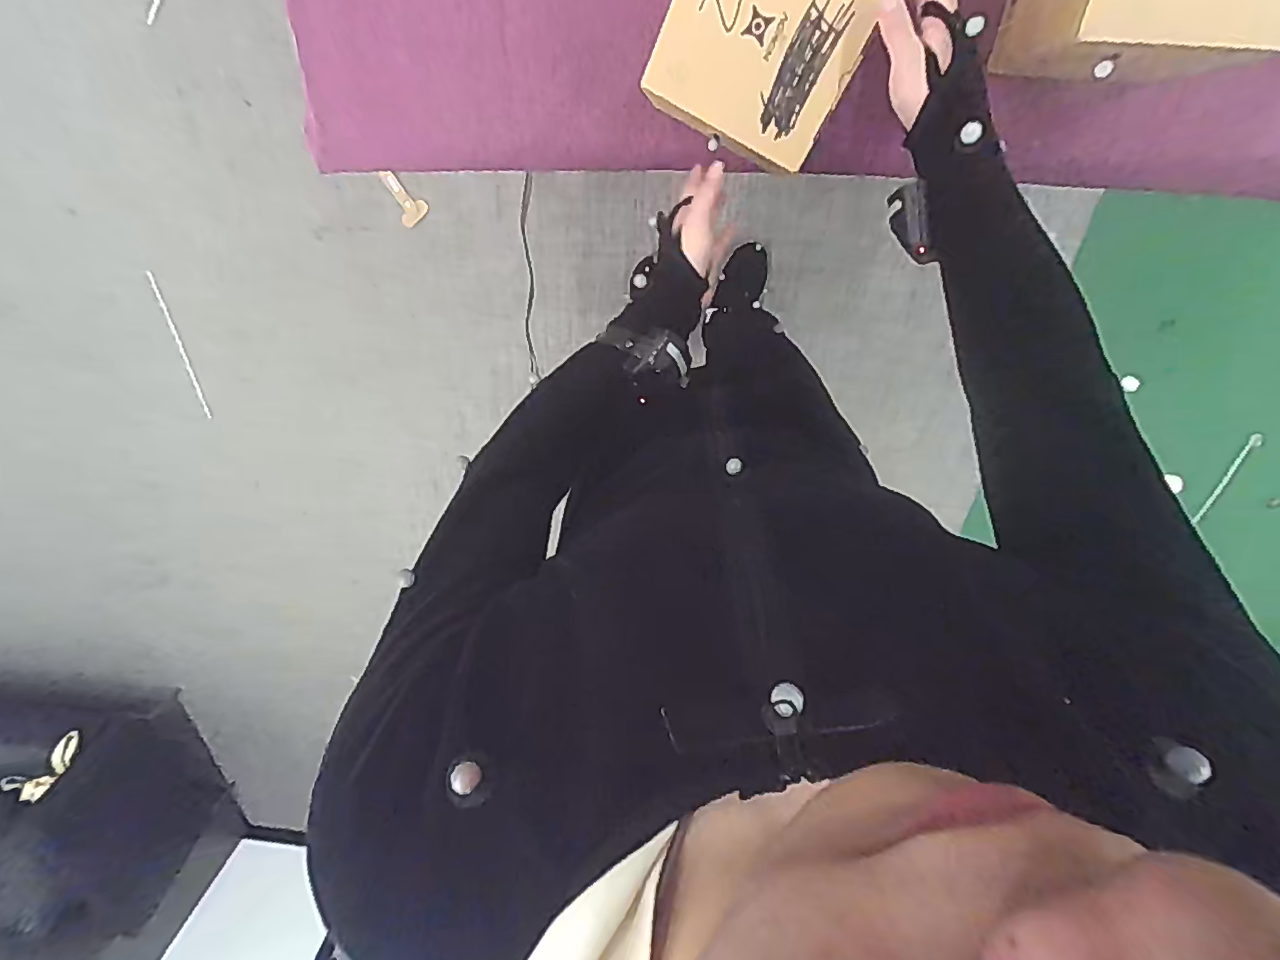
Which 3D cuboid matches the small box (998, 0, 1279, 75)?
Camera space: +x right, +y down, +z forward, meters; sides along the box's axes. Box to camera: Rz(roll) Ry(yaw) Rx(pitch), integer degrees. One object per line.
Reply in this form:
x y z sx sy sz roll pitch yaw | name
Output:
0.459 -0.471 0.473 0.179 0.176 0.168 7 120 5 | small box
